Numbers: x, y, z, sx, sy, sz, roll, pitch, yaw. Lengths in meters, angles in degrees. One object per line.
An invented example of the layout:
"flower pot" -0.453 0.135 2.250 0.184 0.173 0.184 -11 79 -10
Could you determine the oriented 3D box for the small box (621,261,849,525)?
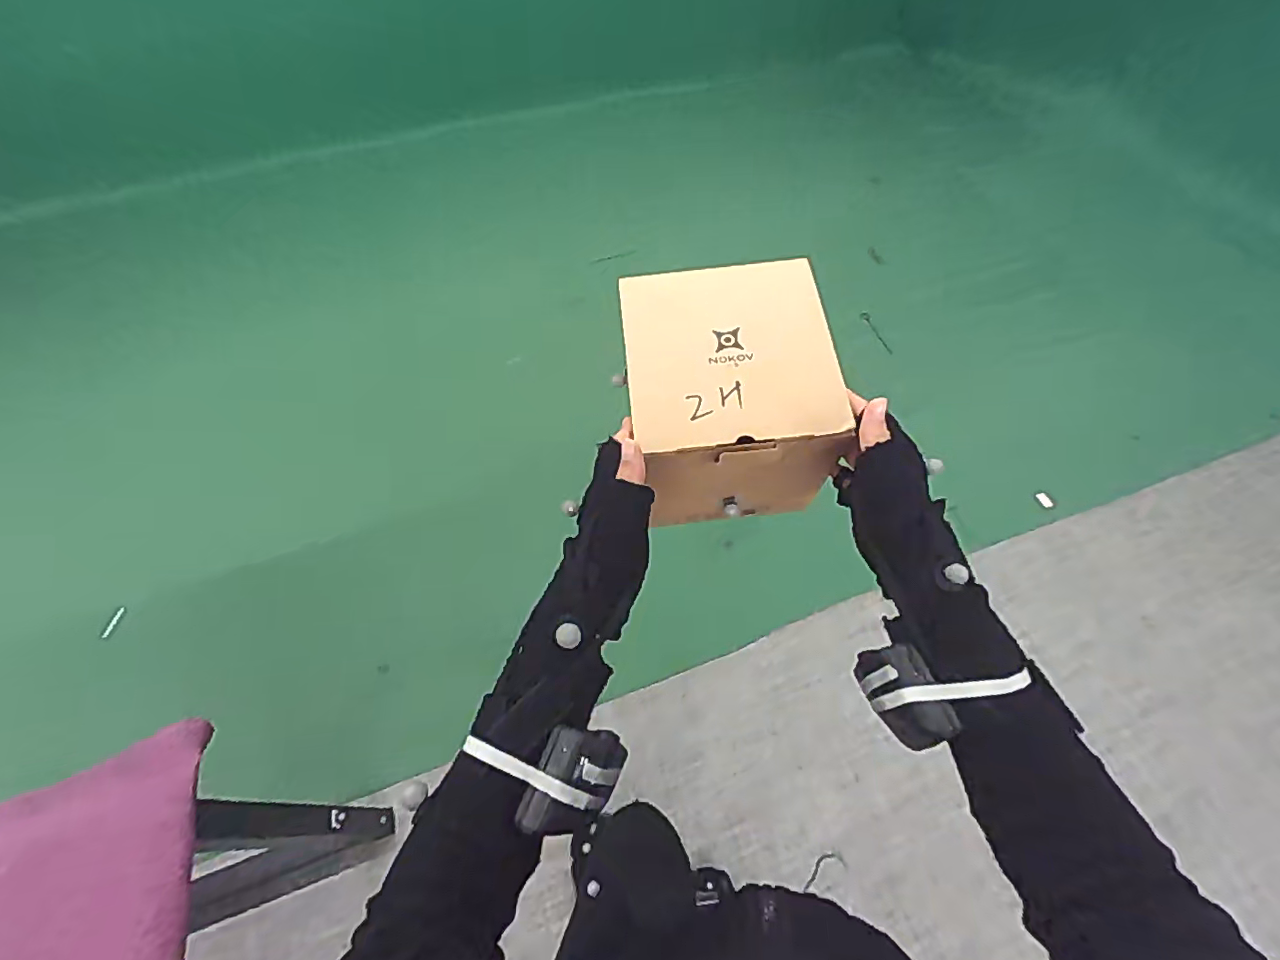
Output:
"small box" 0.073 -0.072 0.508 0.168 0.176 0.179 -6 66 2
